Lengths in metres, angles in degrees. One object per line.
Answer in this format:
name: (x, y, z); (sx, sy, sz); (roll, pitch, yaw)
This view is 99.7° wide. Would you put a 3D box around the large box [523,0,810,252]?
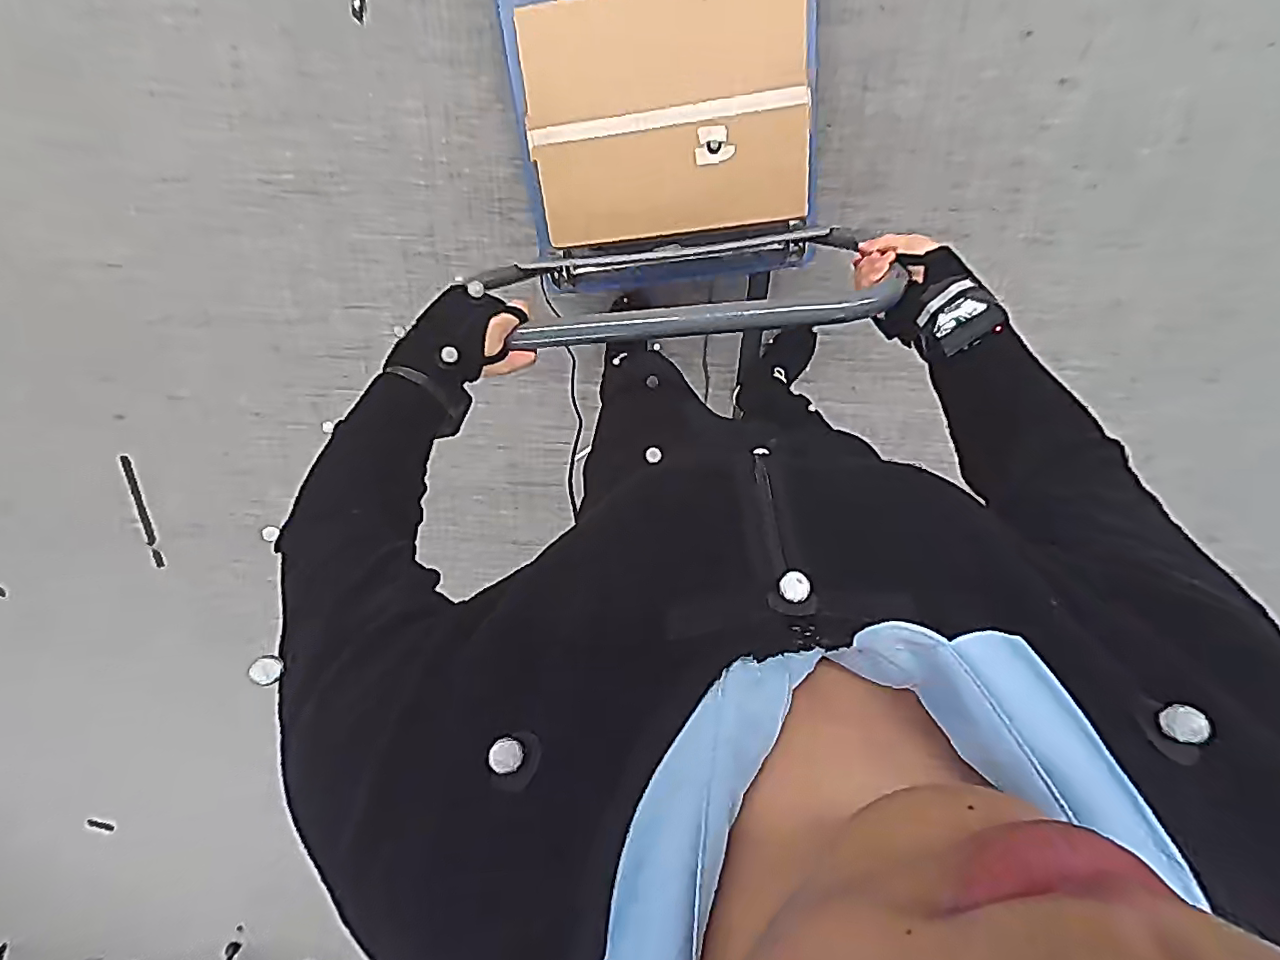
large box: (0.057, -0.588, 0.935); (0.408, 0.320, 0.320); (-4, 113, 7)
